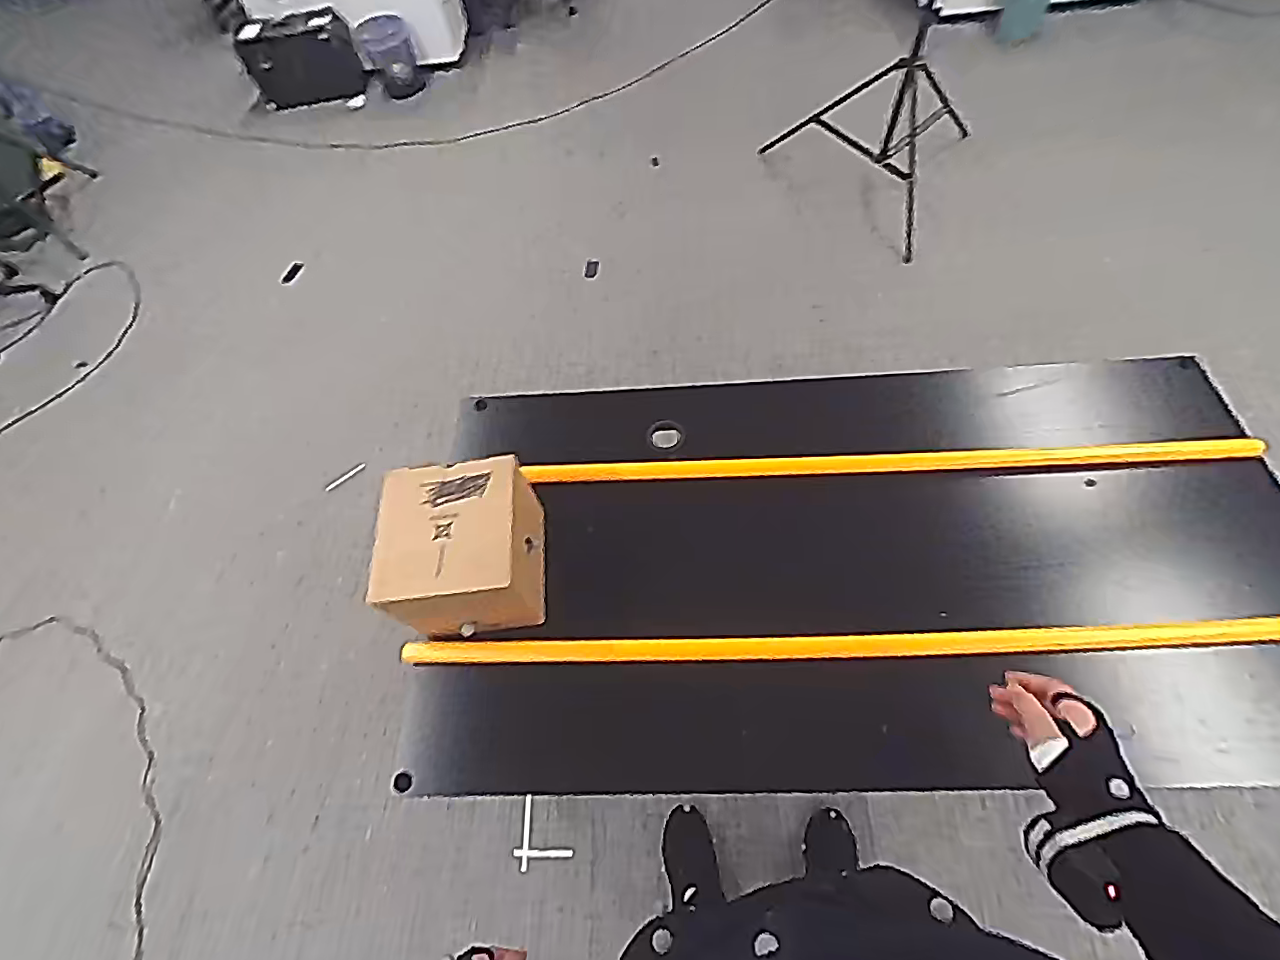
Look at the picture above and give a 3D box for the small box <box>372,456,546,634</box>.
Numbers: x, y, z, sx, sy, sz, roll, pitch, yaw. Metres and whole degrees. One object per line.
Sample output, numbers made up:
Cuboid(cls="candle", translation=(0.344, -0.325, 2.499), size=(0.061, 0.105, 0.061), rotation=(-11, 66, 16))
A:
Cuboid(cls="small box", translation=(-0.225, 0.092, 0.720), size=(0.168, 0.176, 0.179), rotation=(-7, 61, 1))
